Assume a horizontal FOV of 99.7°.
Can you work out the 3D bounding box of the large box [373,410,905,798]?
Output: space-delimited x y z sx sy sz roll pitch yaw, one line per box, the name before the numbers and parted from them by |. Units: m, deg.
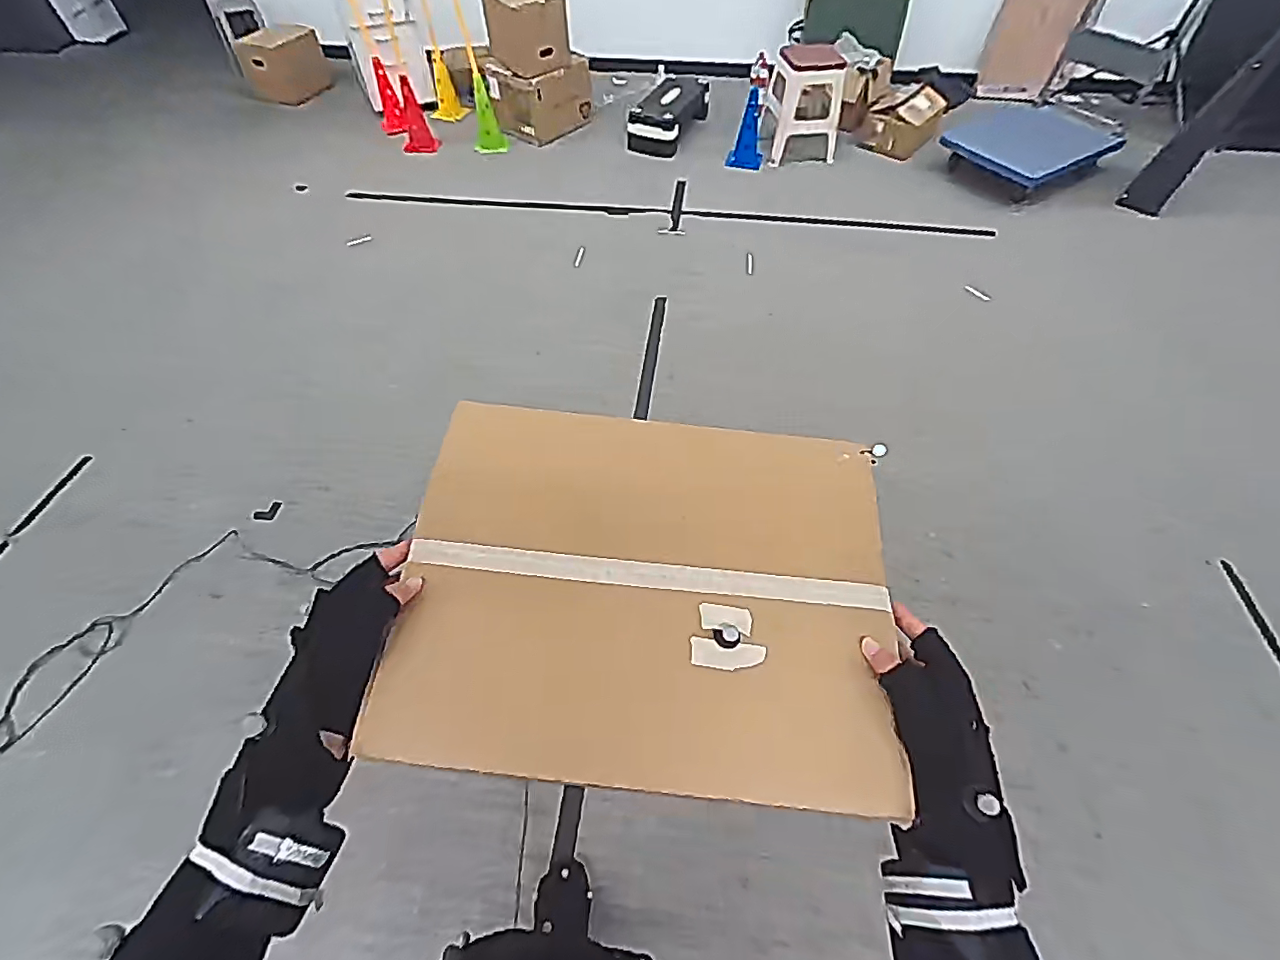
large box | 0.003 0.151 0.596 0.408 0.320 0.320 6 62 0
